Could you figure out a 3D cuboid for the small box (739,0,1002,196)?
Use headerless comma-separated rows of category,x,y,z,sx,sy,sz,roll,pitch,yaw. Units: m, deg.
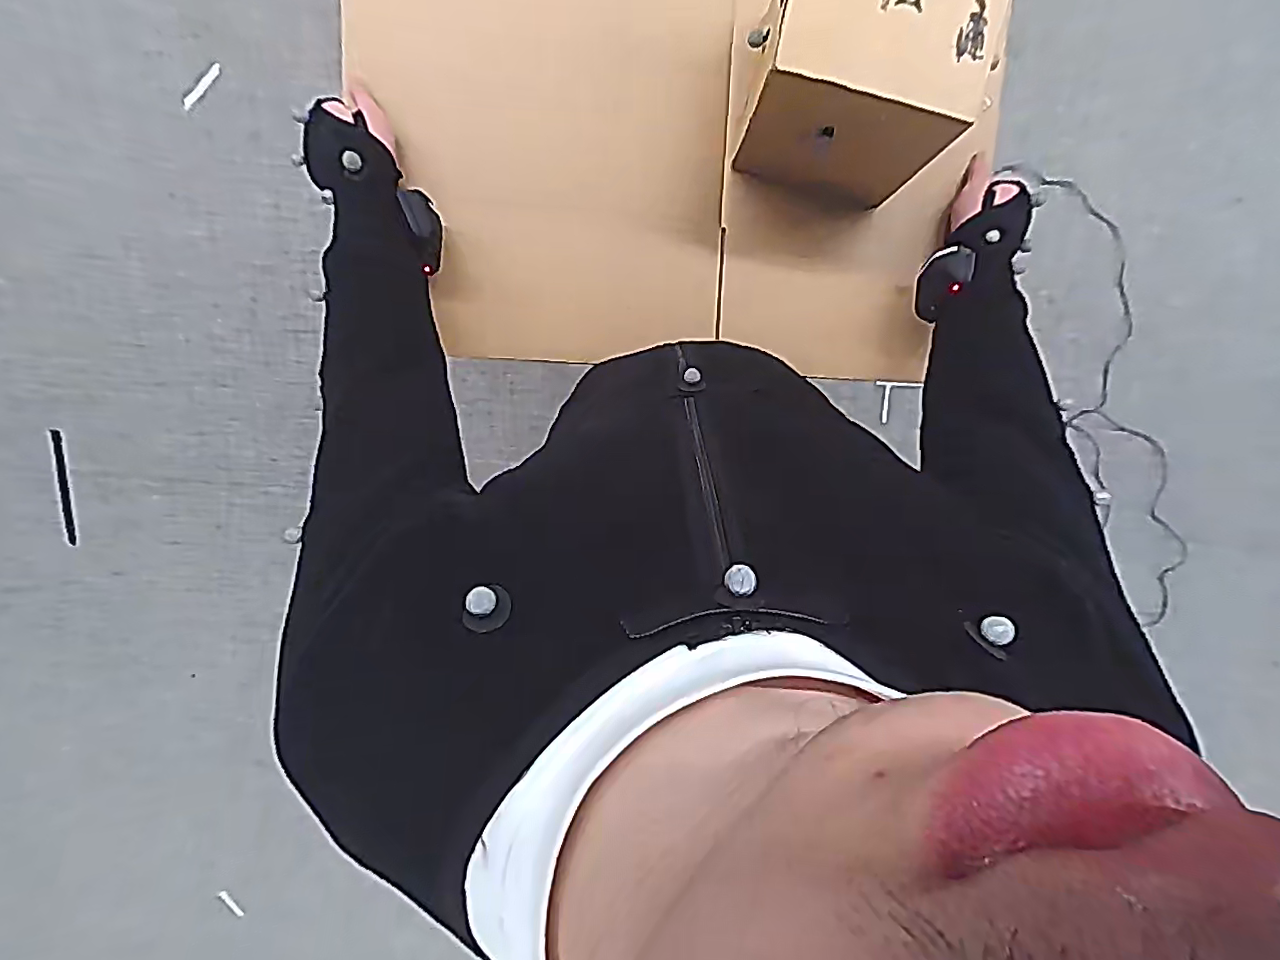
small box,0.206,-0.401,0.517,0.179,0.176,0.168,13,96,-2
